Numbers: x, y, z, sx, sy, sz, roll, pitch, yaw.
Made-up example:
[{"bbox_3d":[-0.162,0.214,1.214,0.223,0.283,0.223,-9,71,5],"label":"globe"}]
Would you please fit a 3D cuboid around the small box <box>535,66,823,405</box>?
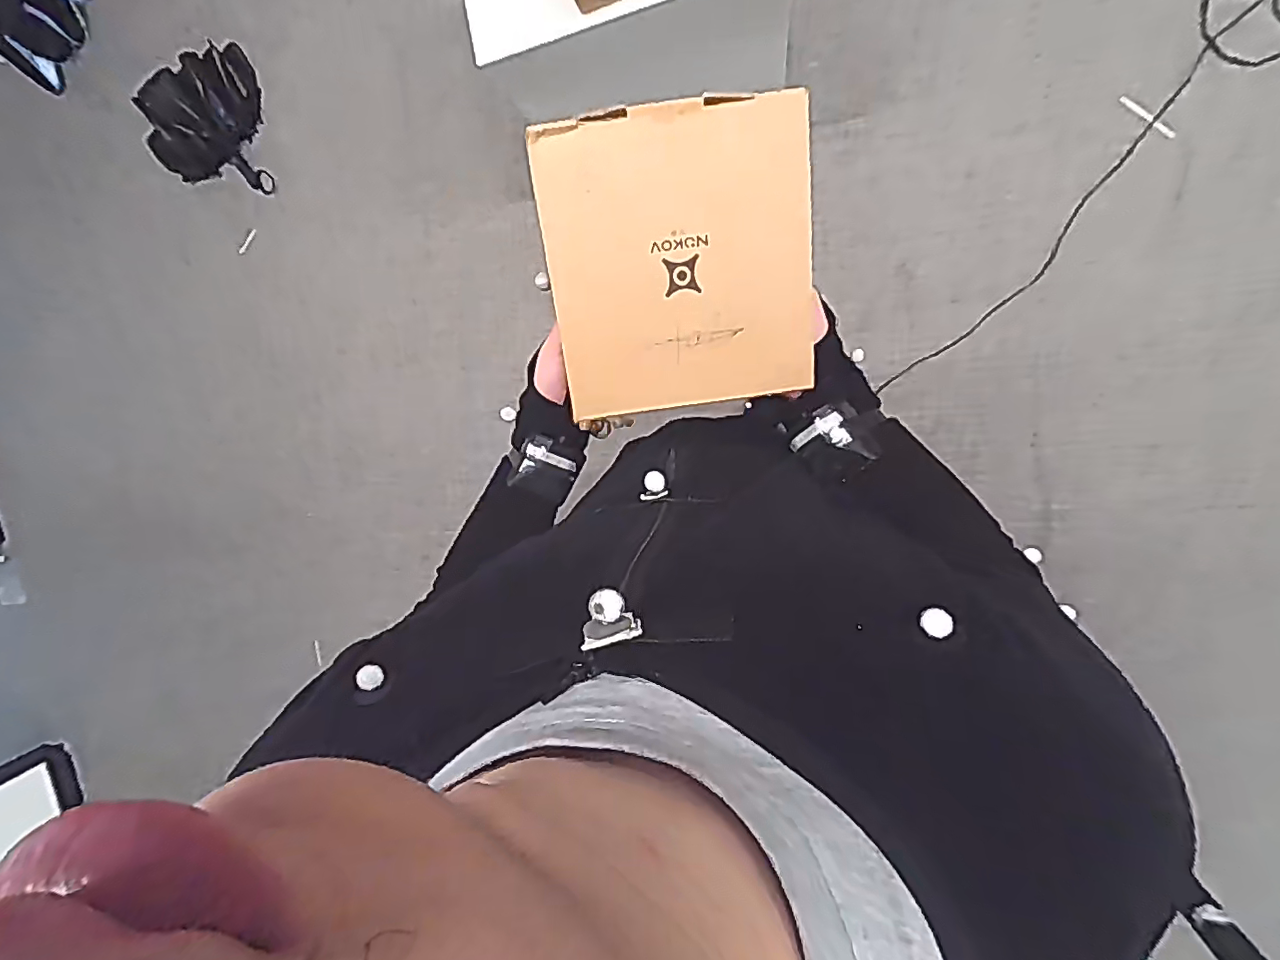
[{"bbox_3d":[0.026,-0.169,0.407,0.168,0.176,0.179,-9,111,1],"label":"small box"}]
